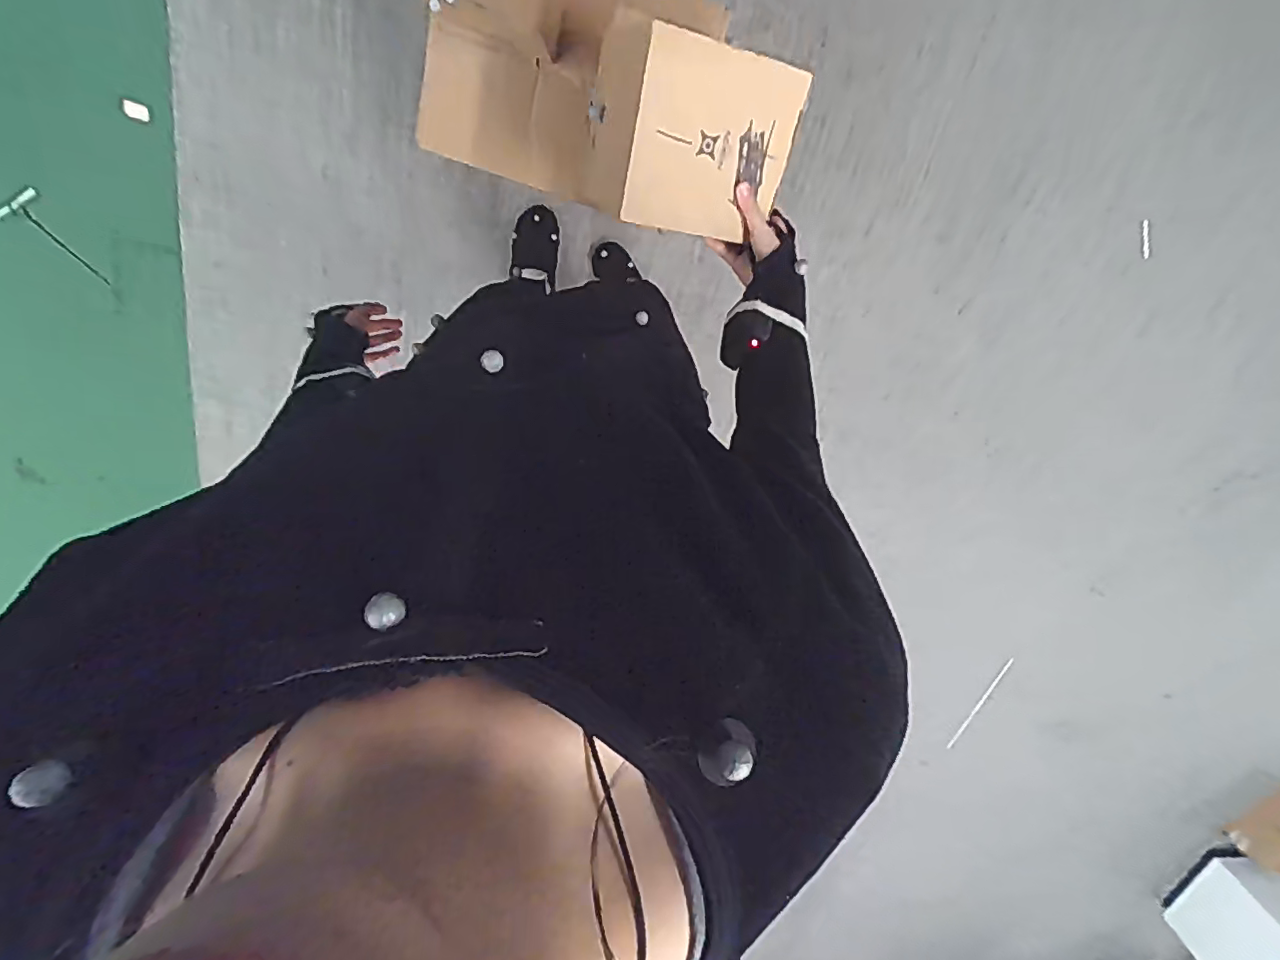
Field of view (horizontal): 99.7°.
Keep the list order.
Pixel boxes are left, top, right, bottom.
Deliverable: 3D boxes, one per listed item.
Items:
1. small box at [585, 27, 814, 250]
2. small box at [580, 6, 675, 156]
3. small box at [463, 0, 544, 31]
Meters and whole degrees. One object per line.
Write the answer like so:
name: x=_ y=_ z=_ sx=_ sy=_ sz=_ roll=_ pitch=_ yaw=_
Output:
small box: x=0.052 y=-0.376 z=0.606 sx=0.179 sy=0.176 sz=0.168 roll=0 pitch=124 yaw=-22
small box: x=0.027 y=-0.508 z=0.760 sx=0.179 sy=0.176 sz=0.168 roll=17 pitch=117 yaw=-10
small box: x=-0.166 y=-0.597 z=0.528 sx=0.168 sy=0.176 sz=0.179 roll=20 pitch=114 yaw=-11
